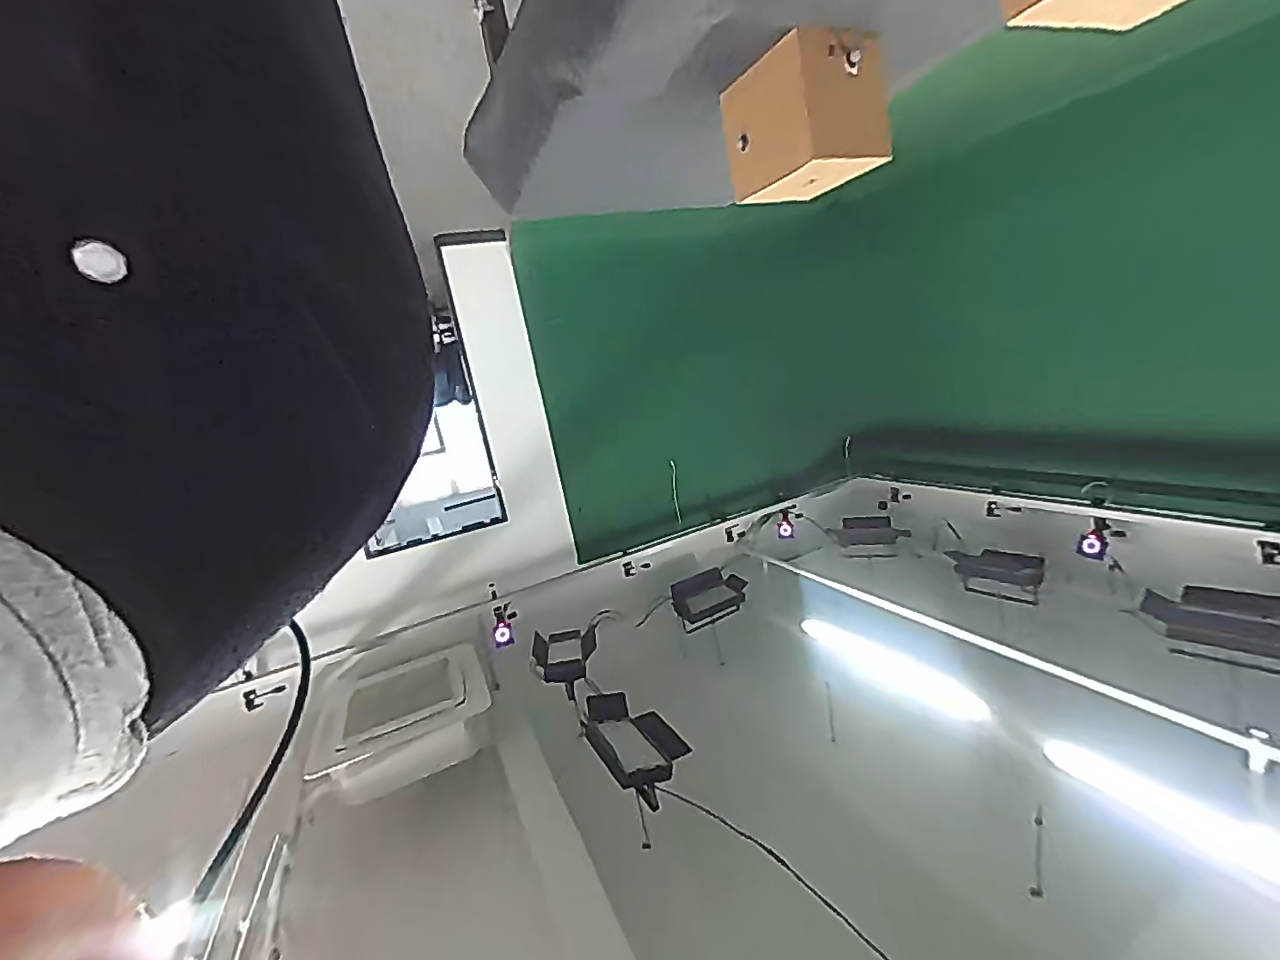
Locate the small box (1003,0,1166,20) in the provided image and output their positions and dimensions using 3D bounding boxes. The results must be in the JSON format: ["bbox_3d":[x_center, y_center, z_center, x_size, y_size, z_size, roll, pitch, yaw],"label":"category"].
[{"bbox_3d":[0.403,-0.485,0.394,0.168,0.176,0.179,-15,-167,-17],"label":"small box"}]

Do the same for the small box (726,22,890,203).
[{"bbox_3d":[0.248,-0.545,0.825,0.168,0.176,0.179,-18,-168,-24],"label":"small box"}]
